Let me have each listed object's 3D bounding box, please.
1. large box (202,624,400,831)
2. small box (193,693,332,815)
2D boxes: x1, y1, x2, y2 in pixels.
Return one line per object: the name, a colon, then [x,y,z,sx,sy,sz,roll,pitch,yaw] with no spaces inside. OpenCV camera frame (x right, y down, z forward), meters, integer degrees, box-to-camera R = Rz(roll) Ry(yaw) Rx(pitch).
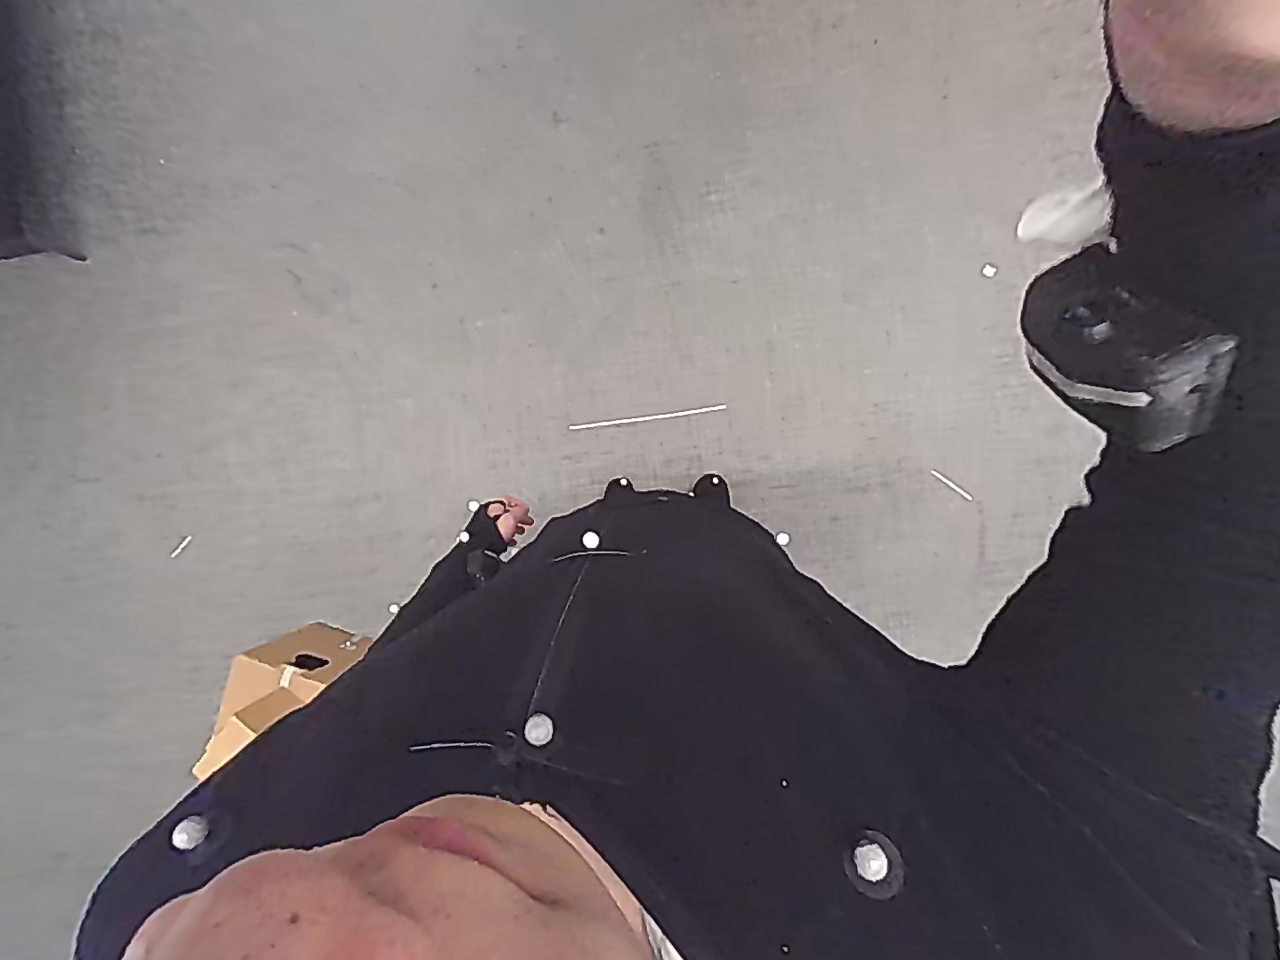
large box: [-0.947,0.680,1.553,0.320,0.320,0.408,16,92,4]
small box: [-0.899,0.645,1.304,0.179,0.176,0.168,36,92,2]
